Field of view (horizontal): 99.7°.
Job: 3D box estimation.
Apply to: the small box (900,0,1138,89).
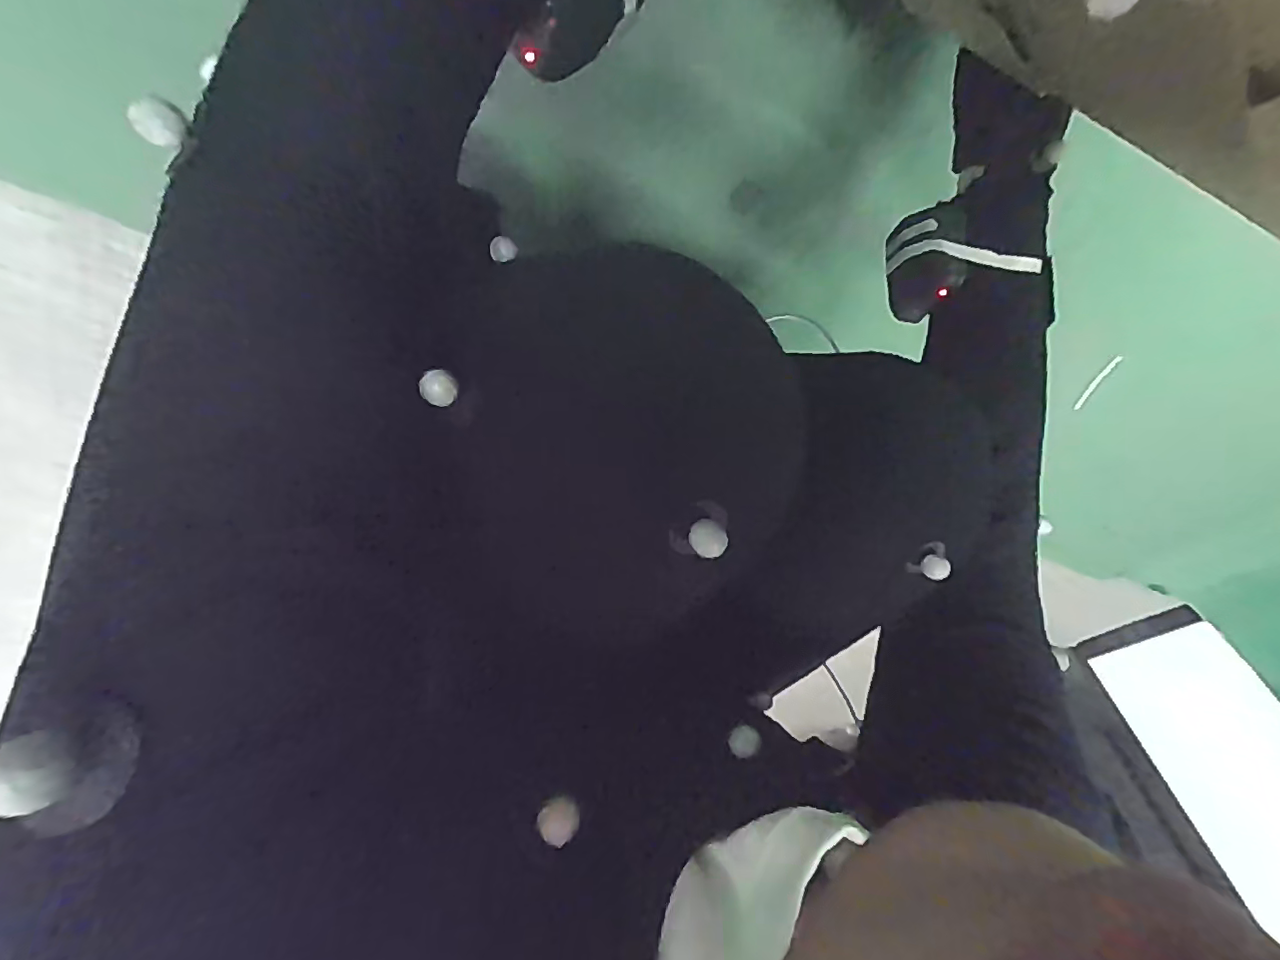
[{"bbox_3d":[0.196,-0.348,0.255,0.168,0.176,0.179,18,134,-36],"label":"small box"}]
